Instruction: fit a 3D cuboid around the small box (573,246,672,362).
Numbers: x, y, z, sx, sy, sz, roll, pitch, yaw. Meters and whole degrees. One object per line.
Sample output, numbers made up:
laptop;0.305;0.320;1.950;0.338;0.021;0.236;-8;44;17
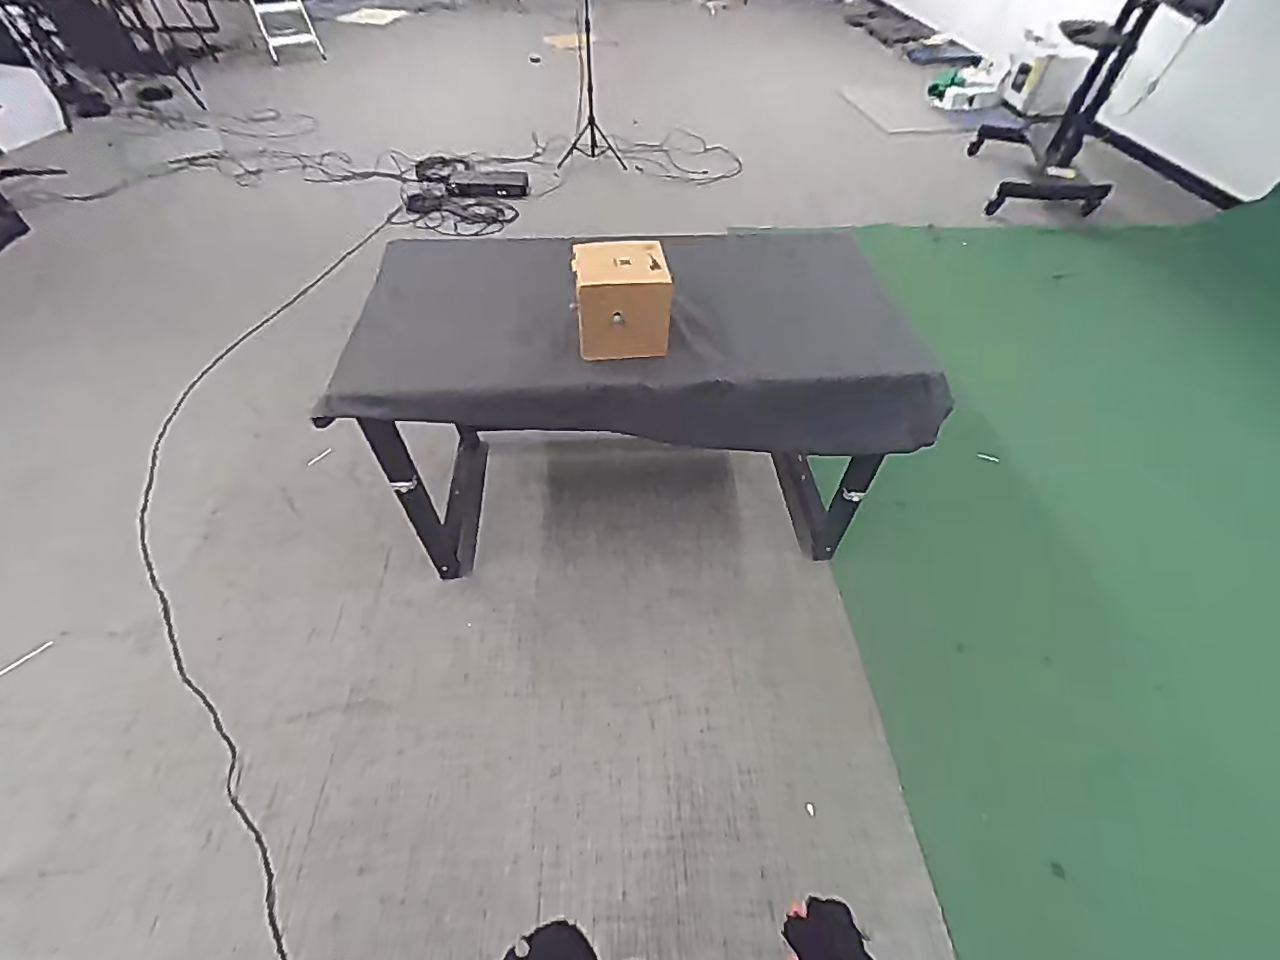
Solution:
small box;-0.038;-0.357;1.107;0.179;0.176;0.168;-7;48;-7
